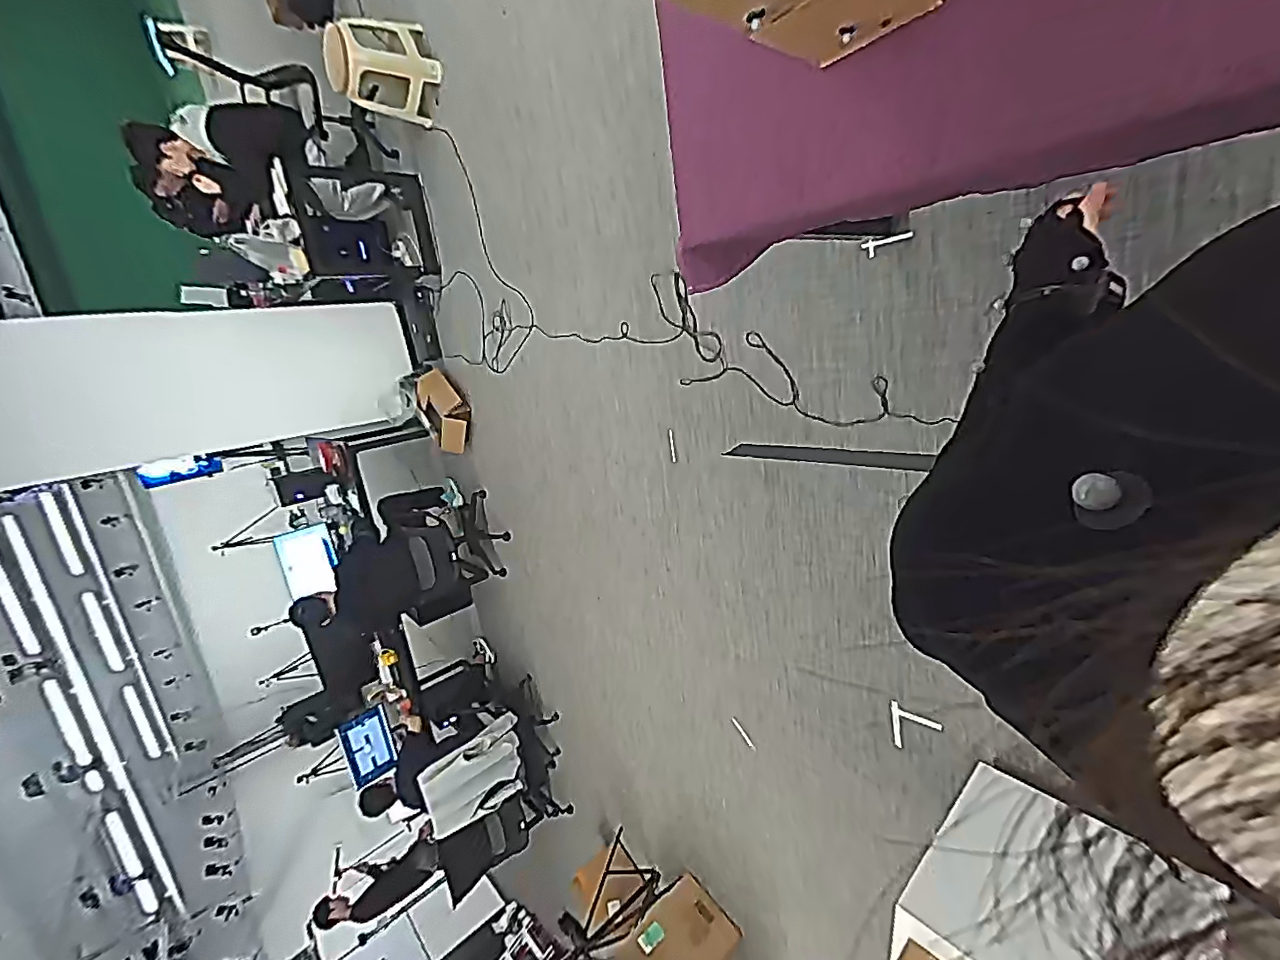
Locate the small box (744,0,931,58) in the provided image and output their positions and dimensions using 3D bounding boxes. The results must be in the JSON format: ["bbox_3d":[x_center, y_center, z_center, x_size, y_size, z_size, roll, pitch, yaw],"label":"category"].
[{"bbox_3d":[0.227,-0.631,0.617,0.168,0.176,0.179,7,112,48],"label":"small box"}]

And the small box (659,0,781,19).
[{"bbox_3d":[0.106,-0.587,0.515,0.168,0.176,0.179,5,109,48],"label":"small box"}]
